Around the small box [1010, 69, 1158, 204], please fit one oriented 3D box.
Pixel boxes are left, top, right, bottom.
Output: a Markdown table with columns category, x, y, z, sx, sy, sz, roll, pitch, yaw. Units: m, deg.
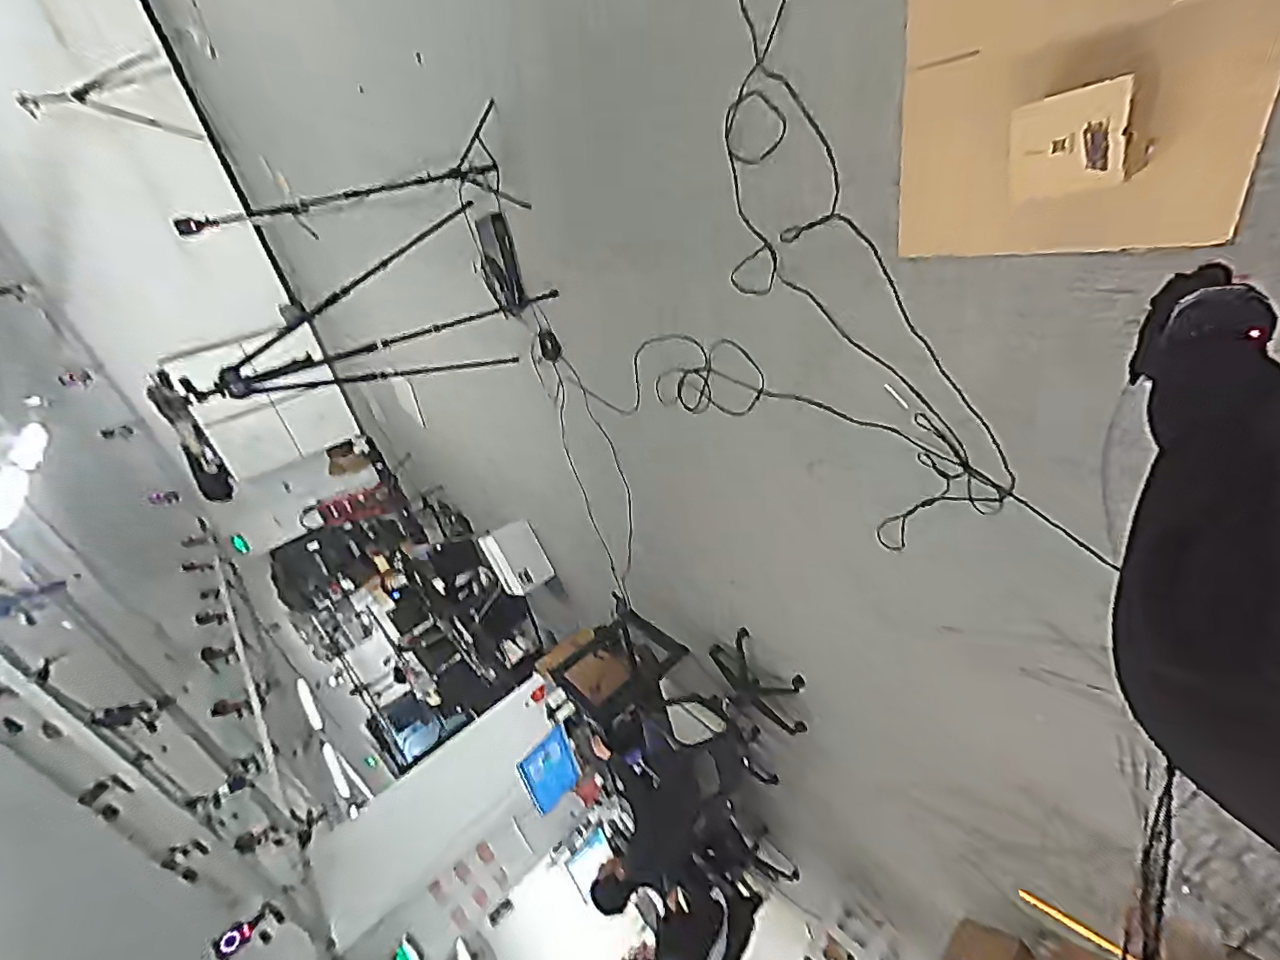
| category | x | y | z | sx | sy | sz | roll | pitch | yaw |
| --- | --- | --- | --- | --- | --- | --- | --- | --- | --- |
| small box | 0.820 | -0.633 | 1.002 | 0.179 | 0.176 | 0.168 | 17 | 131 | 49 |
